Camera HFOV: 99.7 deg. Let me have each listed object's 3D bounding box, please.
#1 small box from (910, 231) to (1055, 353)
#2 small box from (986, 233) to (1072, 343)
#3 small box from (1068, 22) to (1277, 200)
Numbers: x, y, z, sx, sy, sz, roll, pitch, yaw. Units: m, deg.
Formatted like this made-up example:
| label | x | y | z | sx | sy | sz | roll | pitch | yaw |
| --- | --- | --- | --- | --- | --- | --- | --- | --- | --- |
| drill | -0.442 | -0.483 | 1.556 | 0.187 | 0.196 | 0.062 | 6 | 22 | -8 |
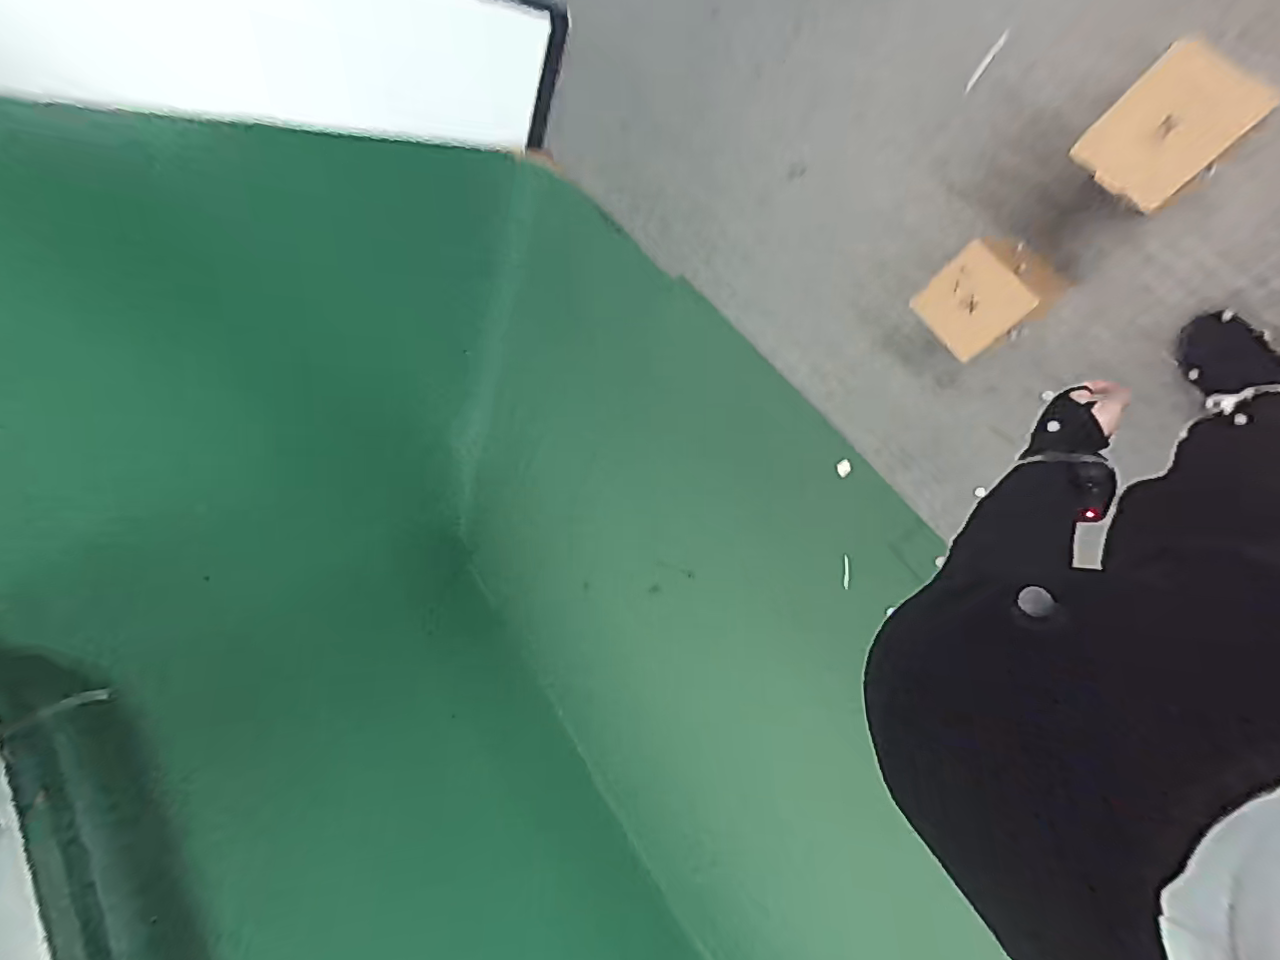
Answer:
| label | x | y | z | sx | sy | sz | roll | pitch | yaw |
| --- | --- | --- | --- | --- | --- | --- | --- | --- | --- |
| small box | 0.714 | -0.395 | 1.125 | 0.179 | 0.176 | 0.168 | 56 | 138 | 15 |
| small box | 0.832 | -0.441 | 1.232 | 0.179 | 0.176 | 0.168 | 55 | 139 | 16 |
| small box | 0.858 | -0.580 | 0.876 | 0.168 | 0.176 | 0.179 | 54 | 138 | 16 |
